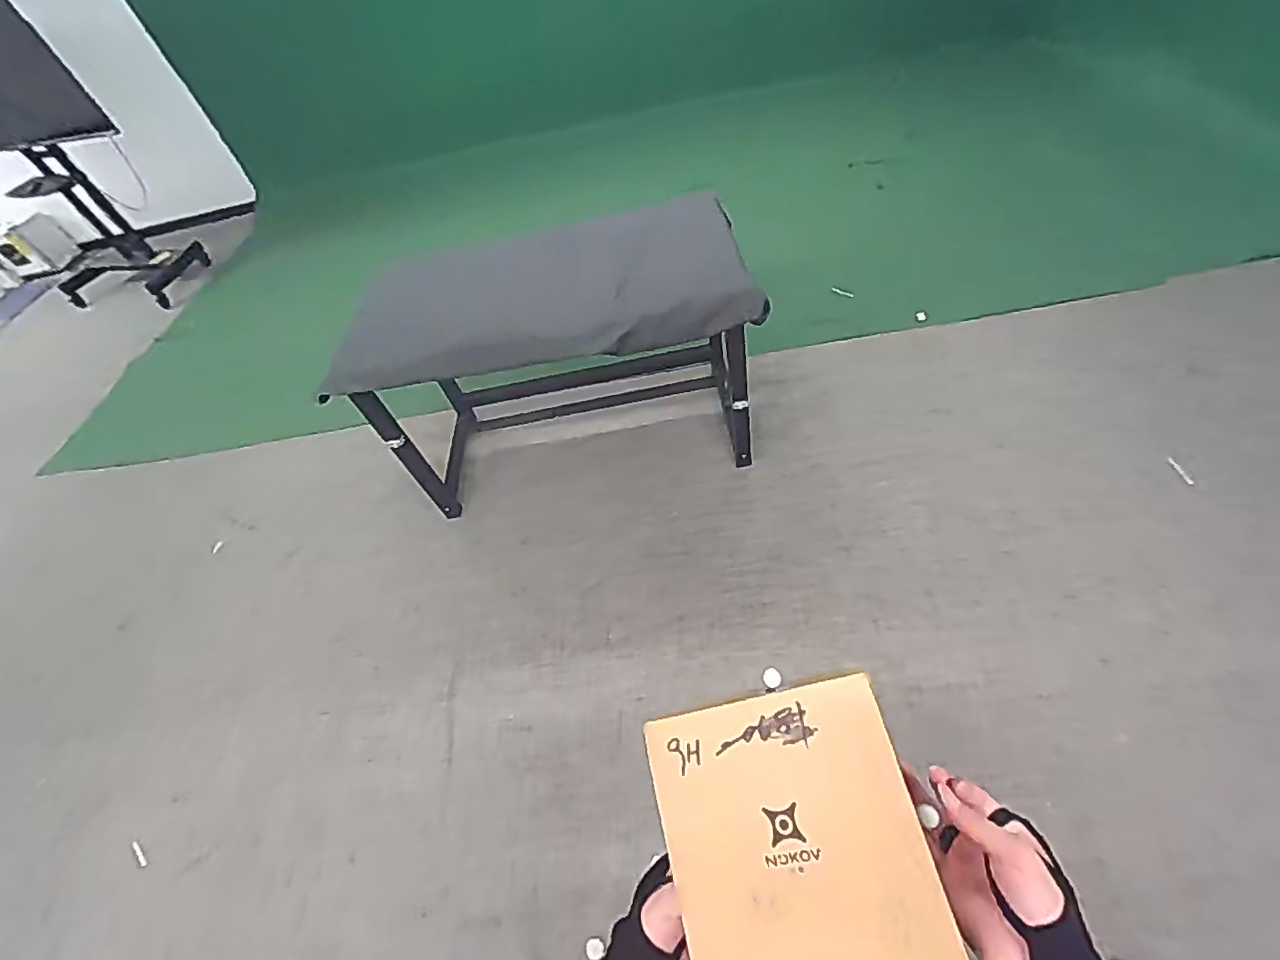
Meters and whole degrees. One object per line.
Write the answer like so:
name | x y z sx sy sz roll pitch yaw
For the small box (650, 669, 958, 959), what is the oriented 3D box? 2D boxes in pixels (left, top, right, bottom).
small box | 0.126 0.260 0.432 0.168 0.176 0.179 -19 69 15
